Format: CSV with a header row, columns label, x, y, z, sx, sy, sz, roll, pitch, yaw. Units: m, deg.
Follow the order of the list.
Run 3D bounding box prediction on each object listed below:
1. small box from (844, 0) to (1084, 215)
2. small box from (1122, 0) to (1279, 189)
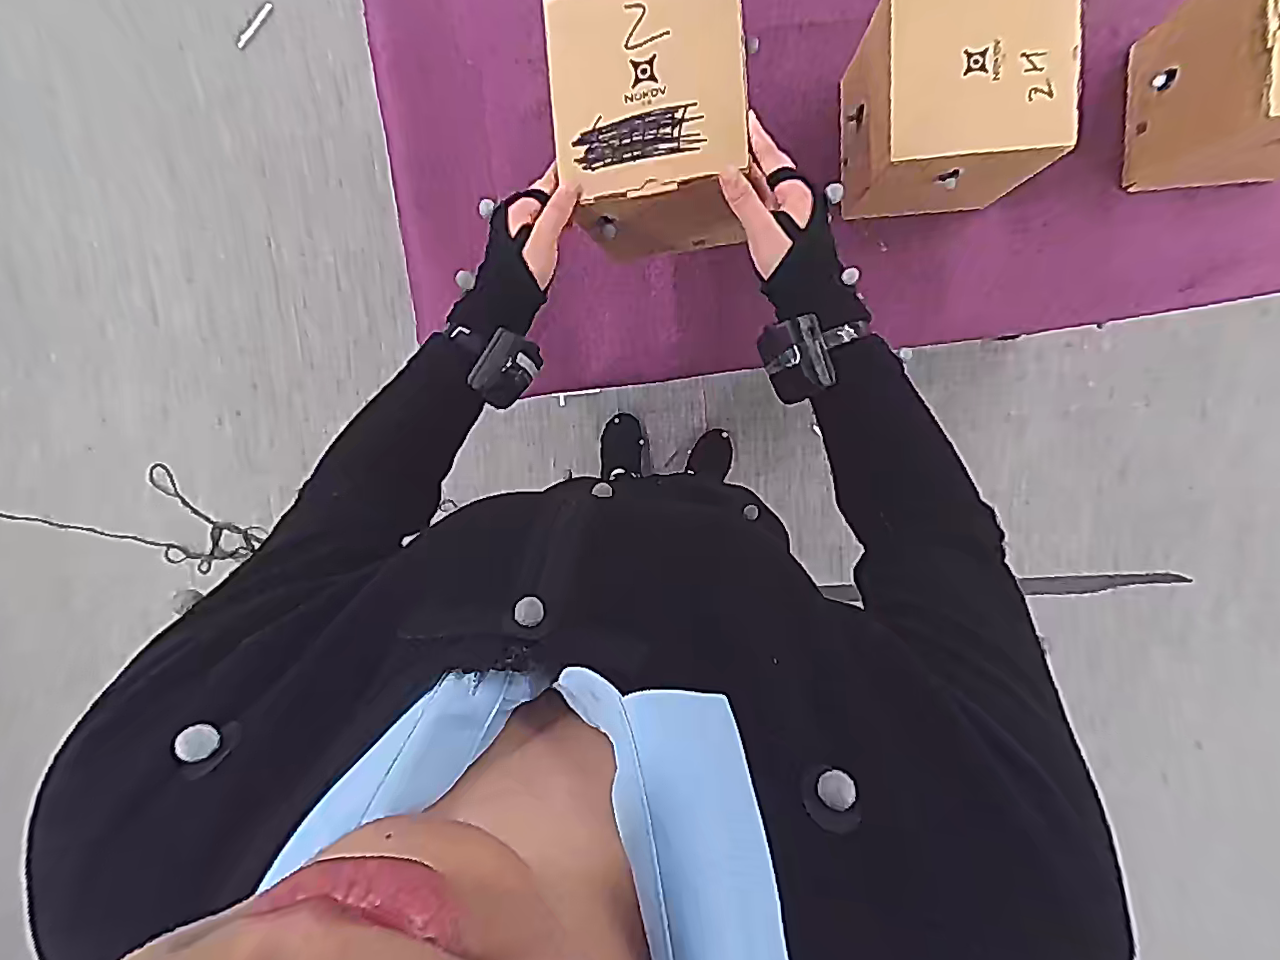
label,x,y,z,sx,sy,sz,roll,pitch,yaw
small box,0.333,-0.405,0.591,0.179,0.176,0.168,-2,98,4
small box,0.667,-0.426,0.564,0.179,0.176,0.168,-2,96,5
